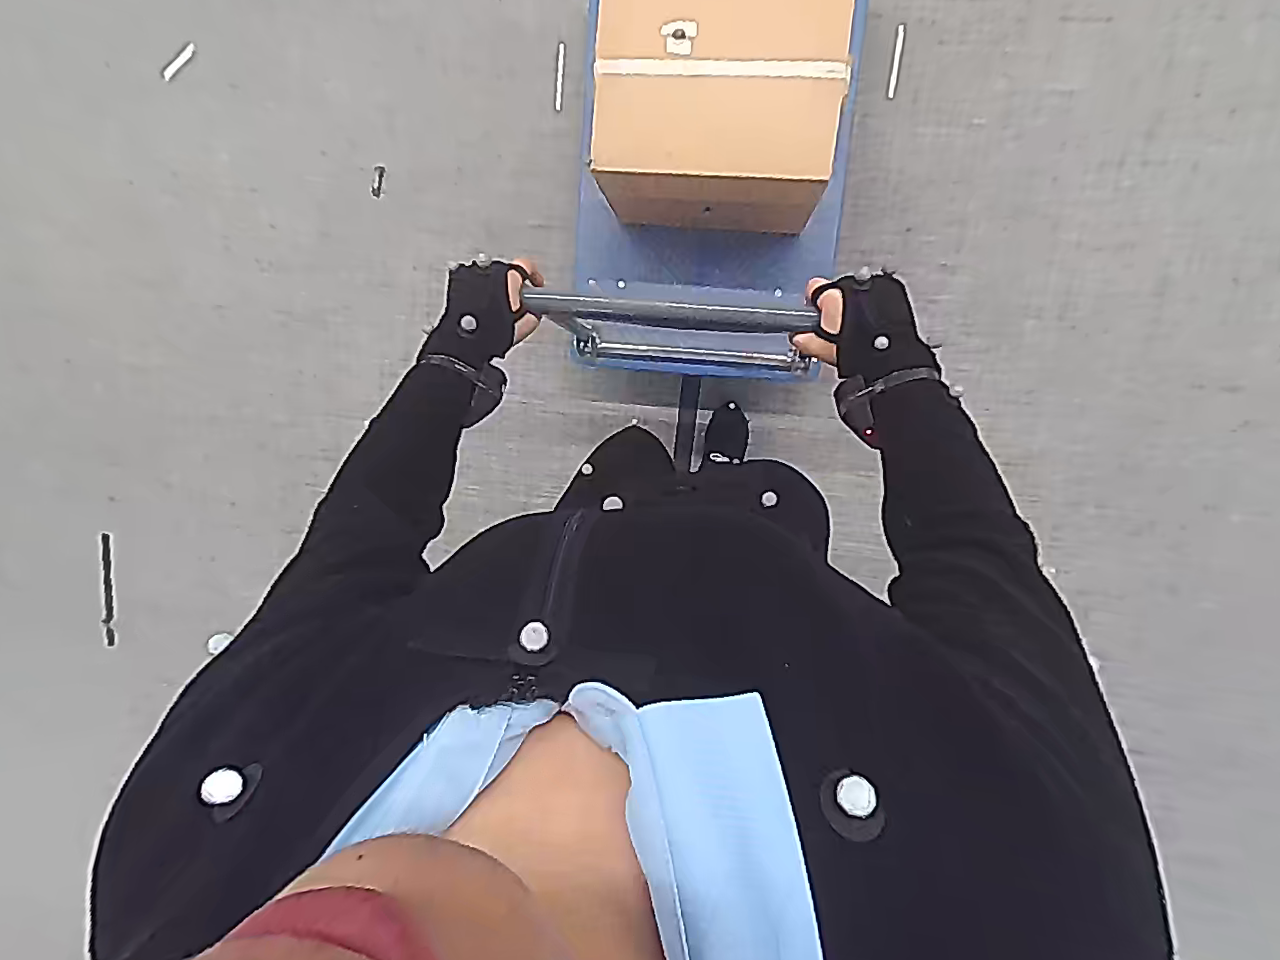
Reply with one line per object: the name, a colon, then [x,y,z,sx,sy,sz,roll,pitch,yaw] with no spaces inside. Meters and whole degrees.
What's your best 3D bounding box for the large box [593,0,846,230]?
large box: [0.146,-0.691,1.044,0.408,0.320,0.320,6,99,8]
